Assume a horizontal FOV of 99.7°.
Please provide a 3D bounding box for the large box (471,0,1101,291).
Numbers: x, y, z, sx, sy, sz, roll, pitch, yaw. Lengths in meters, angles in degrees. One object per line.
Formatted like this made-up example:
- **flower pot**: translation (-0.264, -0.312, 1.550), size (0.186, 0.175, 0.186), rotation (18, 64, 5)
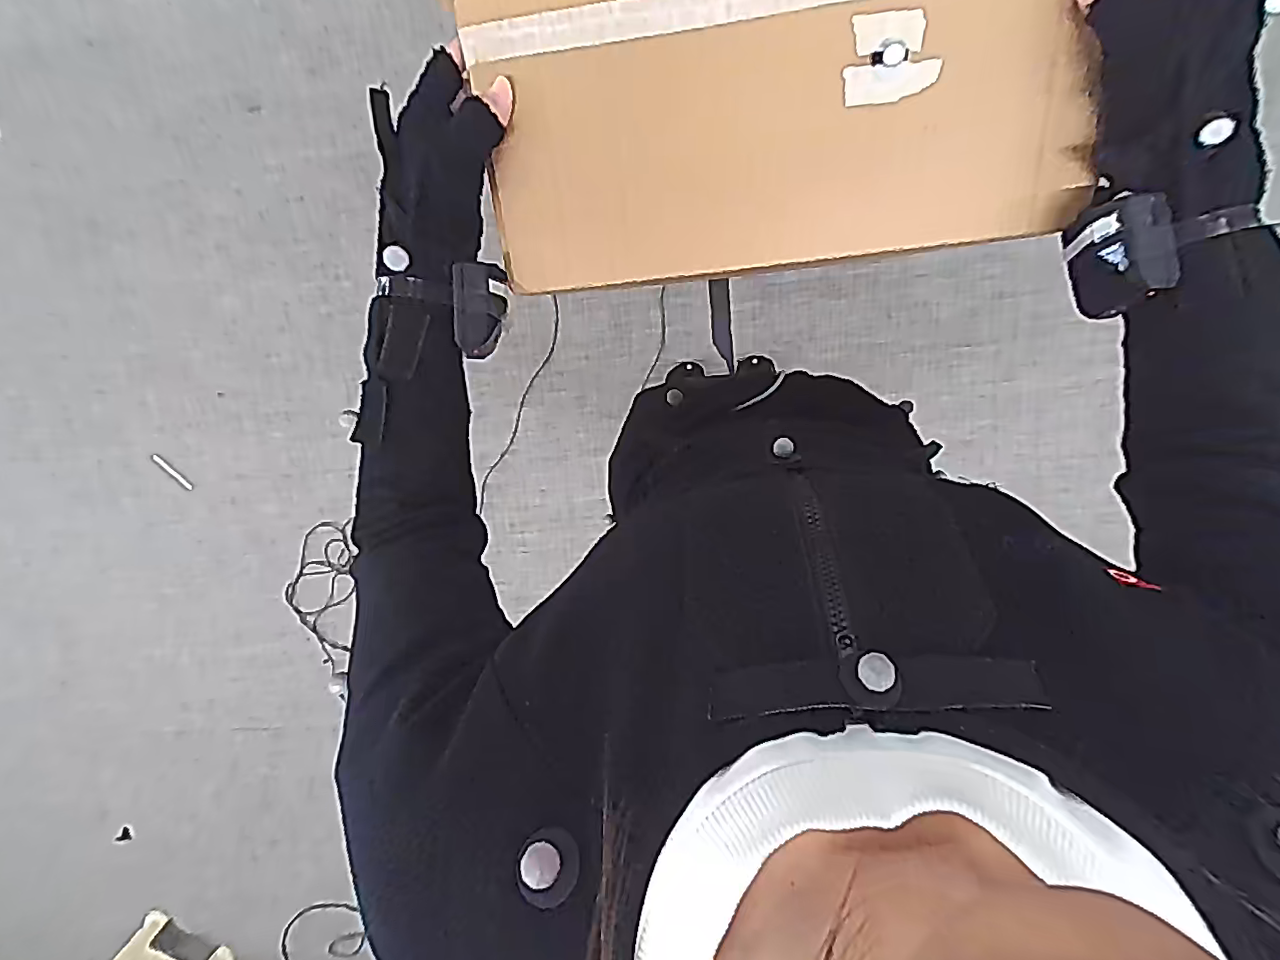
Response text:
- **large box**: translation (0.095, -0.358, 0.488), size (0.408, 0.320, 0.320), rotation (-5, 110, 6)
